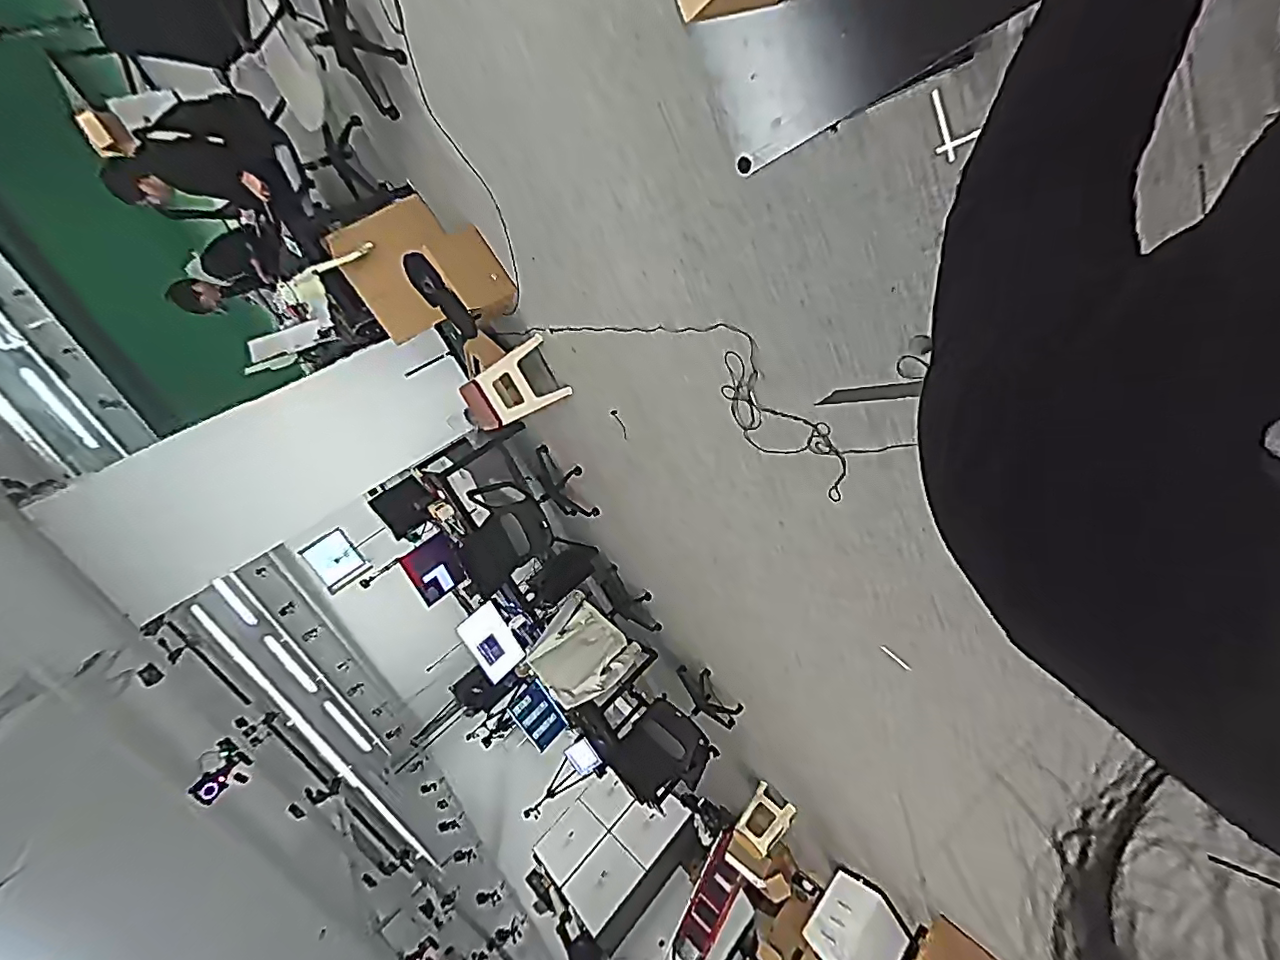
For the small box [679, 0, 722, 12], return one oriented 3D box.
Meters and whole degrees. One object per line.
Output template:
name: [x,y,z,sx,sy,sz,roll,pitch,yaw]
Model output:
small box: [0.121,-0.621,0.538,0.179,0.176,0.168,3,126,54]
